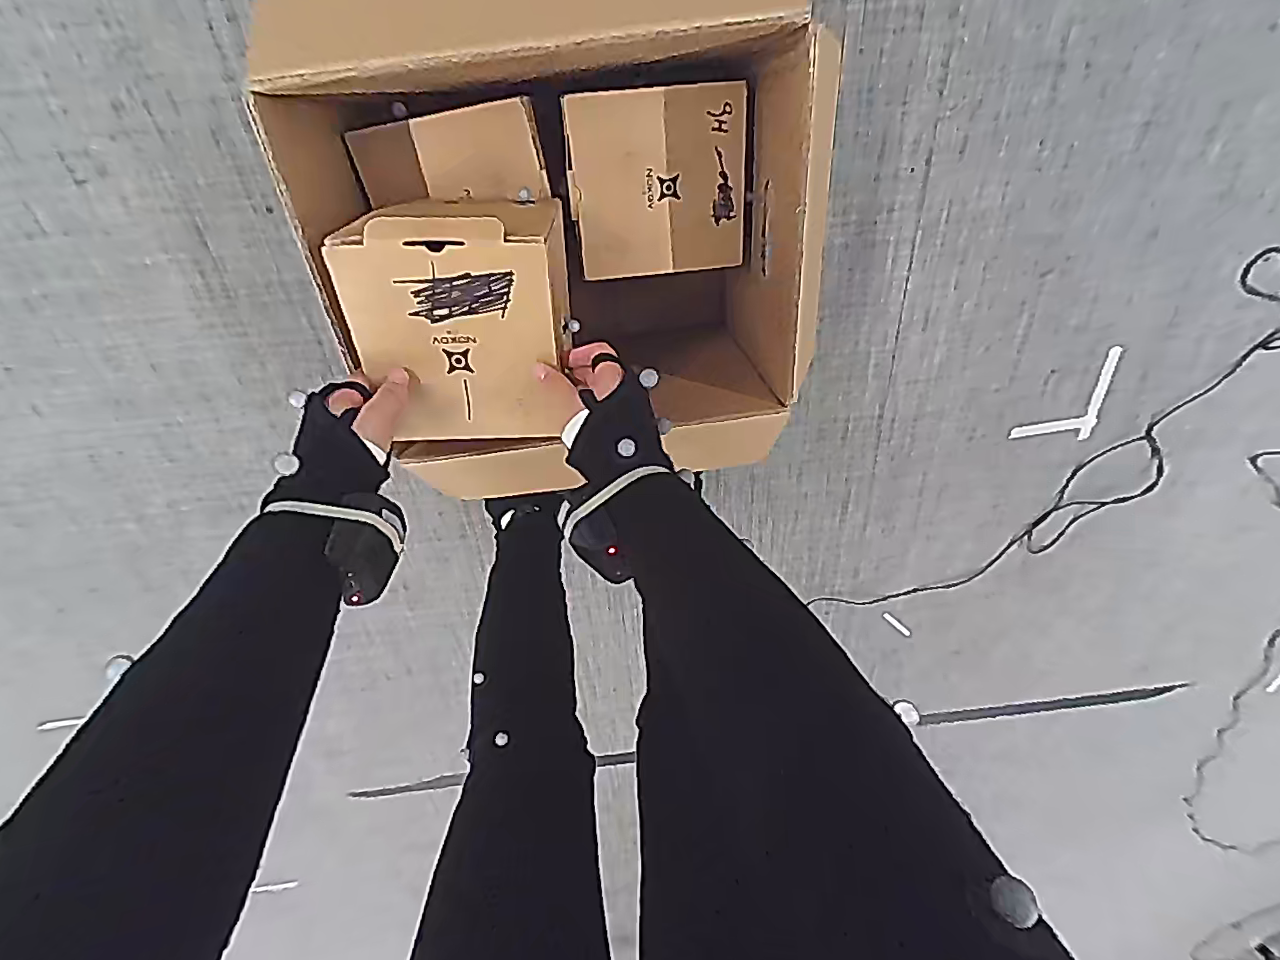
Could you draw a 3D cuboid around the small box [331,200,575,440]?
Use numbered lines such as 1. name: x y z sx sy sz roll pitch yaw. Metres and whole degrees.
1. small box: -0.150 -0.156 0.508 0.168 0.176 0.179 -2 127 -2
